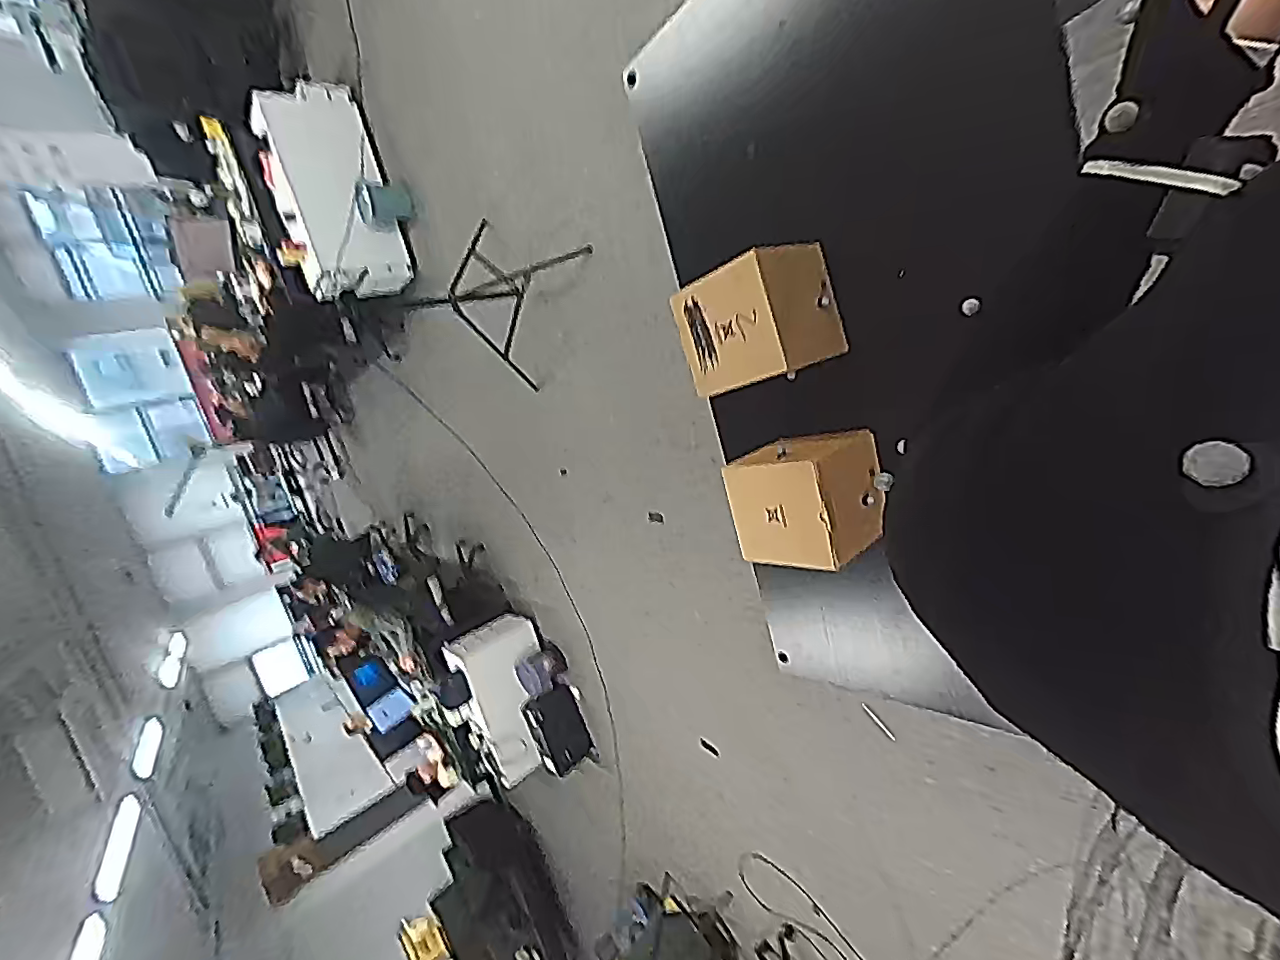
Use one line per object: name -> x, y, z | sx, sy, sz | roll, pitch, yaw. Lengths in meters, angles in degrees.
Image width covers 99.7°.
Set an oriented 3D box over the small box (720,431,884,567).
small box -> 0.261, 0.026, 0.872 | 0.179, 0.176, 0.168 | -3, 105, 51
